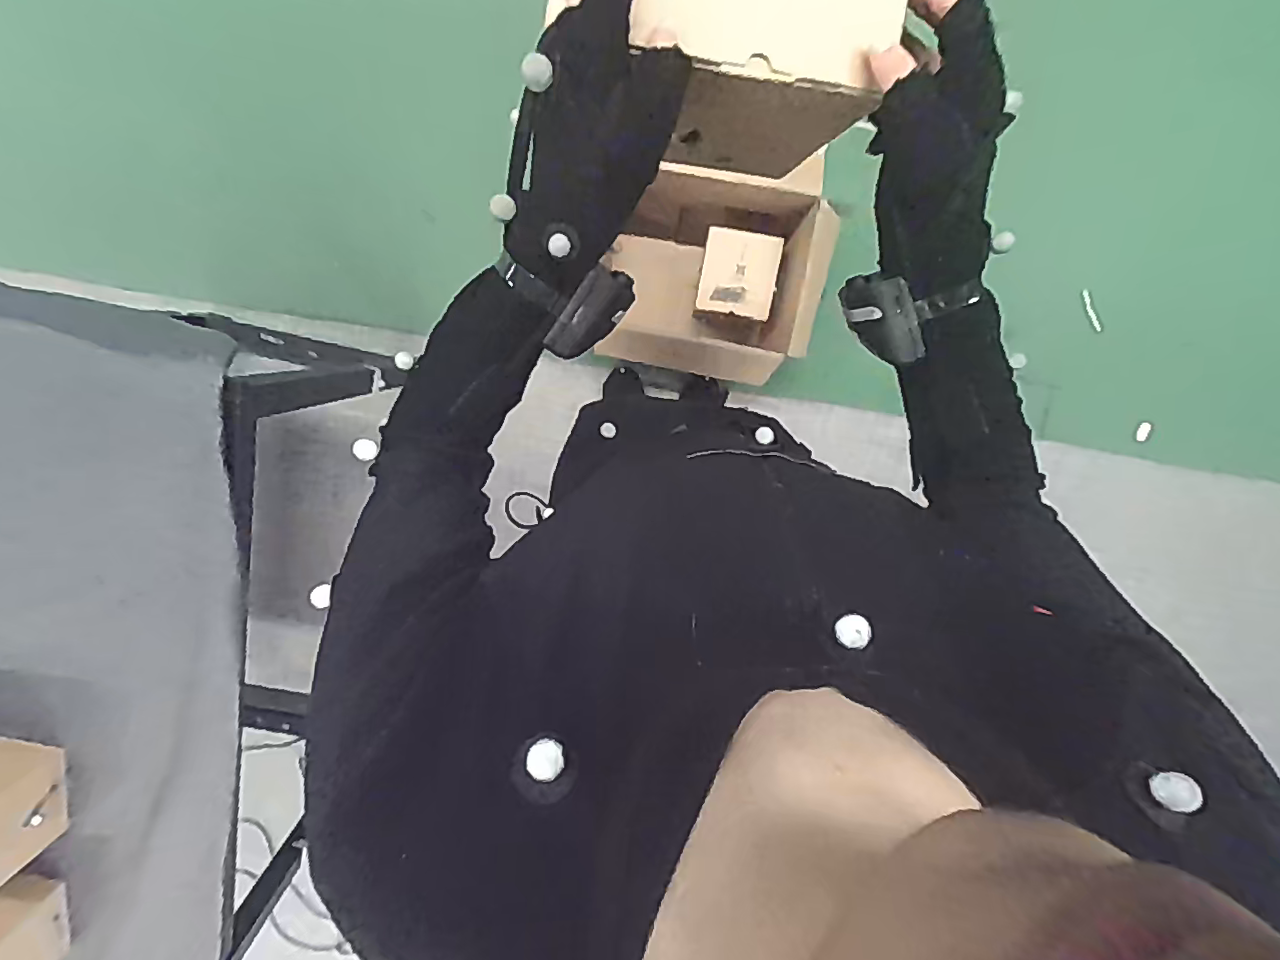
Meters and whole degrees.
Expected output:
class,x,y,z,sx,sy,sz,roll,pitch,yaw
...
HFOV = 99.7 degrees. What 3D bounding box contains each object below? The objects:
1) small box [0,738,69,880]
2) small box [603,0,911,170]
class,x,y,z,sx,sy,sz,roll,pitch,yaw
small box,-0.999,0.497,0.782,0.179,0.176,0.168,13,104,-4
small box,0.066,-0.336,0.361,0.168,0.176,0.179,3,106,-8
